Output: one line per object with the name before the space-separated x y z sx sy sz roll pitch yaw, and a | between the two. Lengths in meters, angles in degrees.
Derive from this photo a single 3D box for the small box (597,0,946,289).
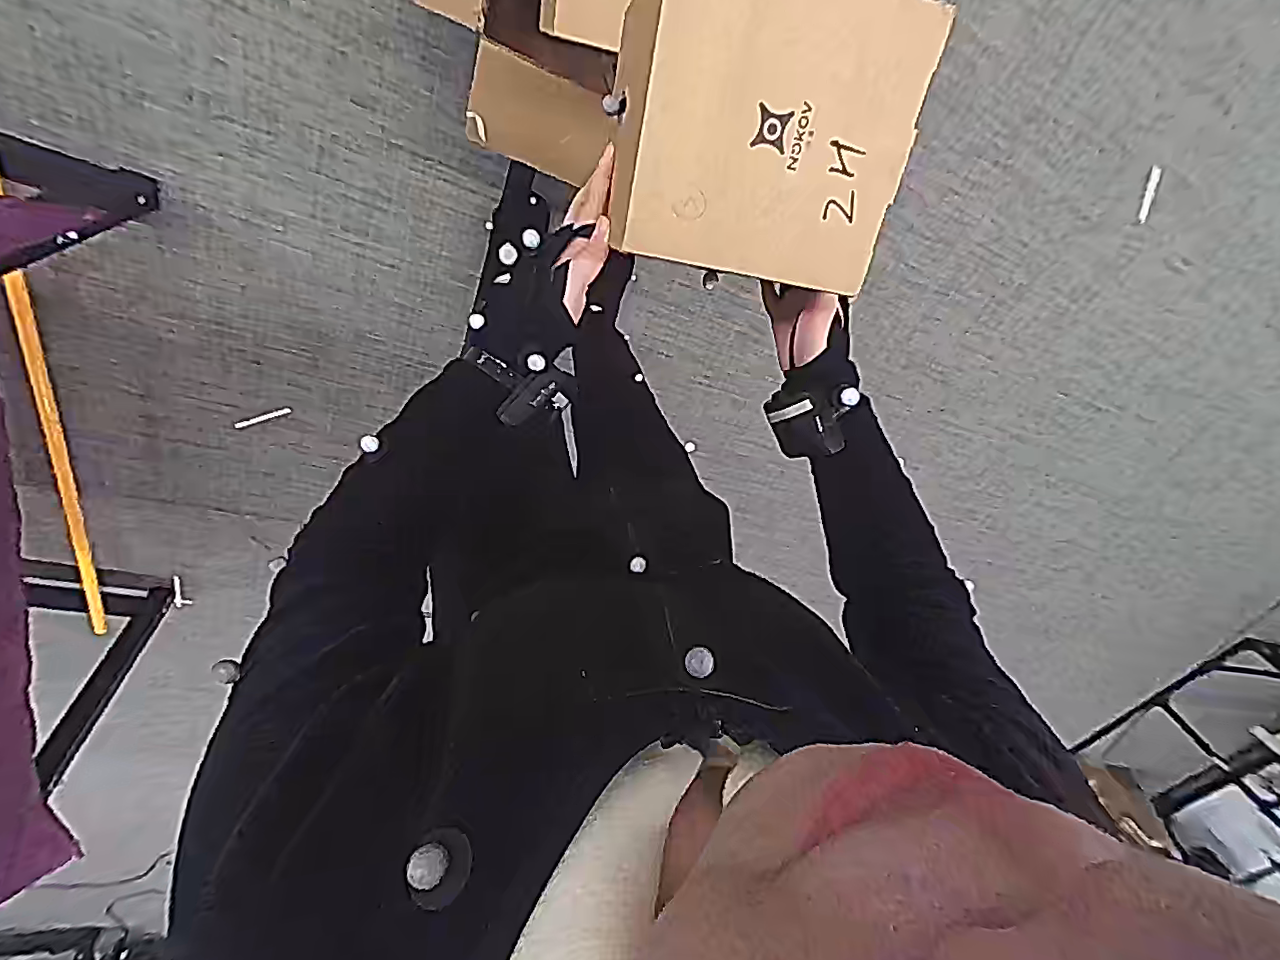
small box | 0.069 -0.251 0.401 0.179 0.176 0.168 5 116 -14

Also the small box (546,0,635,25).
small box | -0.031 -0.690 0.689 0.179 0.176 0.168 -7 132 -11
